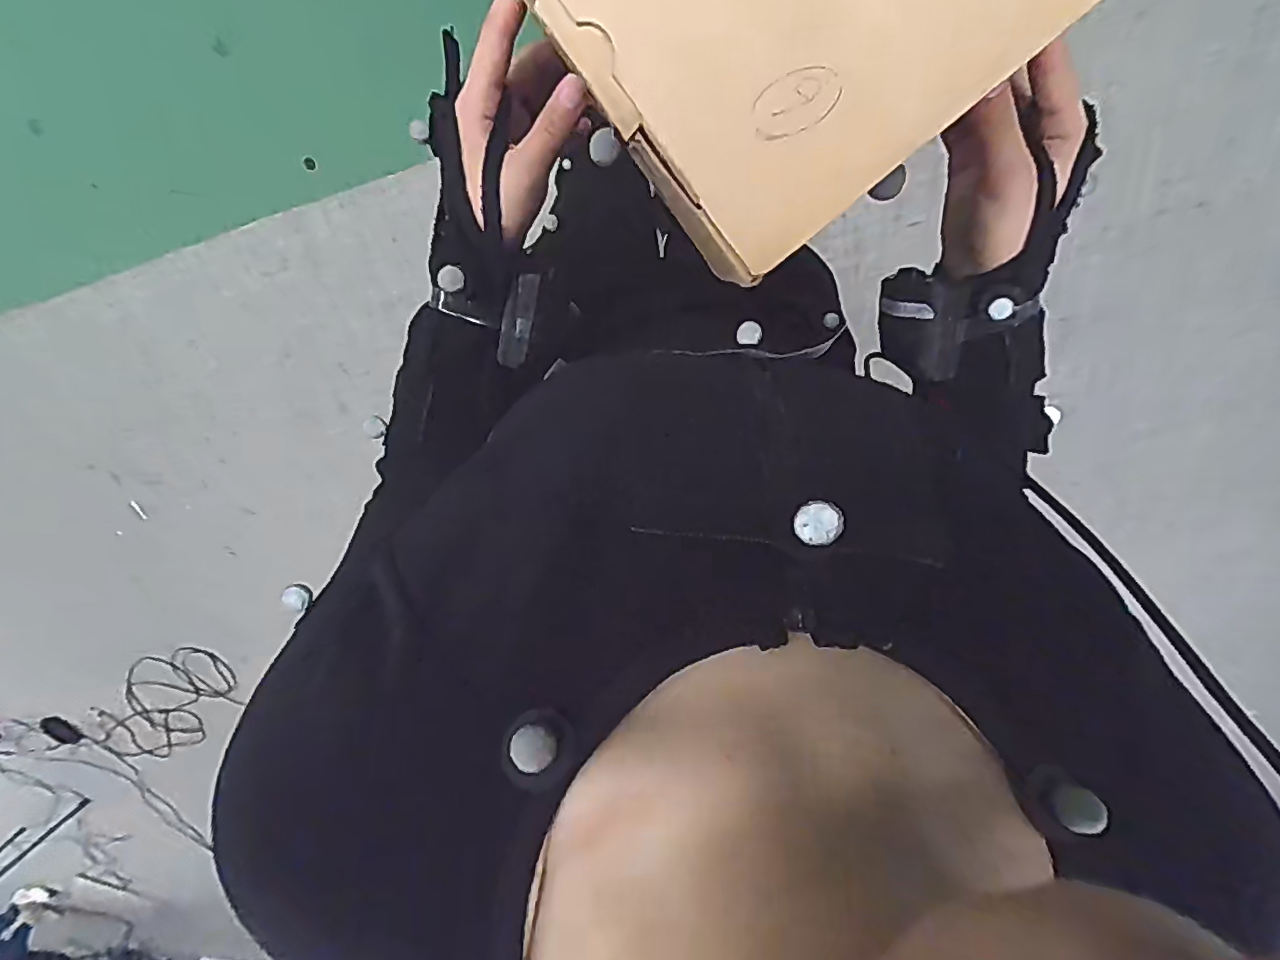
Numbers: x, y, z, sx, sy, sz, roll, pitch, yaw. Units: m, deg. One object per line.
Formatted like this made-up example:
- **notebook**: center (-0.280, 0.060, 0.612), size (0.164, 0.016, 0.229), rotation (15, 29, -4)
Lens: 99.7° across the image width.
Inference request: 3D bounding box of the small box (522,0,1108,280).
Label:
- **small box**: center (0.059, -0.200, 0.213), size (0.179, 0.176, 0.168), rotation (-36, 103, 17)
